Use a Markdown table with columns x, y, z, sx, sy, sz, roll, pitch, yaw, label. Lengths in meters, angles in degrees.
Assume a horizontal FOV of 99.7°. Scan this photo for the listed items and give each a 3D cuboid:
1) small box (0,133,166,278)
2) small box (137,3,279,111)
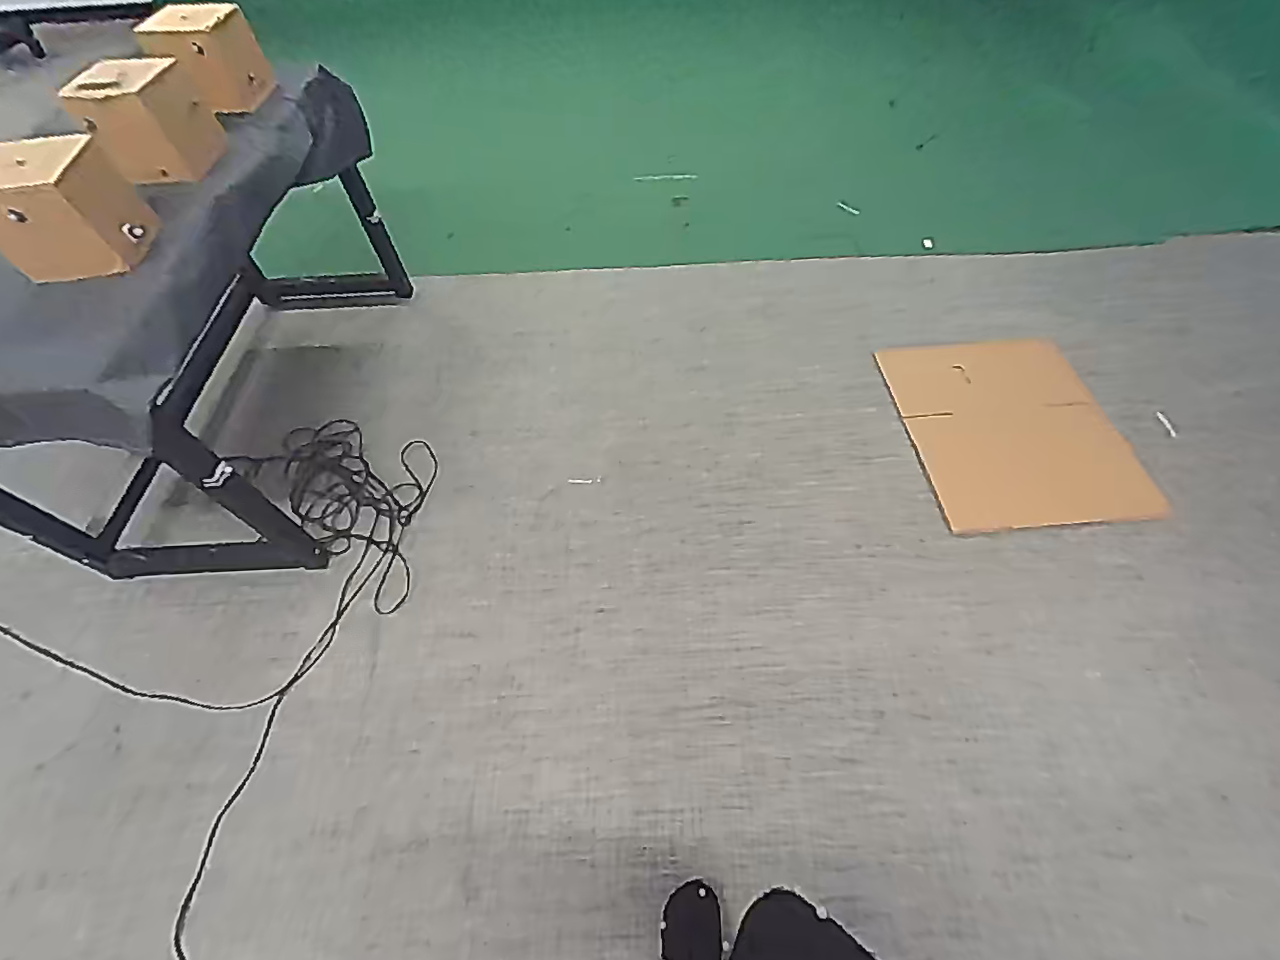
| x | y | z | sx | sy | sz | roll | pitch | yaw | label |
| --- | --- | --- | --- | --- | --- | --- | --- | --- | --- |
| -1.018 | -0.482 | 0.963 | 0.179 | 0.176 | 0.168 | -8 | 58 | -4 | small box |
| -1.039 | -1.026 | 1.319 | 0.179 | 0.176 | 0.168 | 1 | 57 | 3 | small box |
